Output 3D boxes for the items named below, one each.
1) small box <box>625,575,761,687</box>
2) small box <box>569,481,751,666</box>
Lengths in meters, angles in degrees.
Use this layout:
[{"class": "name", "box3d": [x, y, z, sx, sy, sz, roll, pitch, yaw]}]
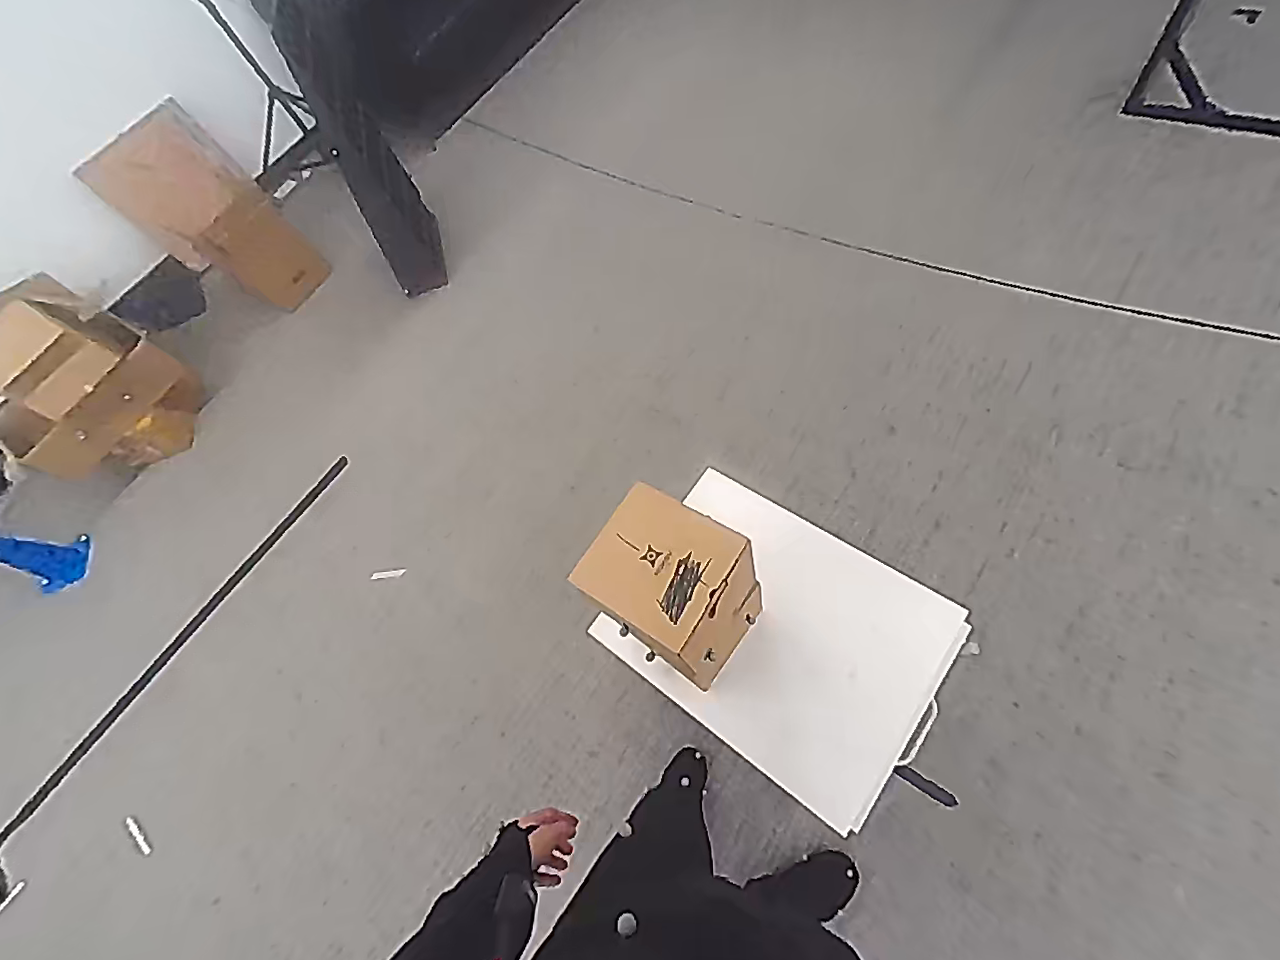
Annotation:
[{"class": "small box", "box3d": [0.080, 0.210, 0.881, 0.168, 0.176, 0.179, 33, 75, 26]}, {"class": "small box", "box3d": [0.040, 0.135, 0.740, 0.179, 0.176, 0.168, 28, 72, 26]}]
